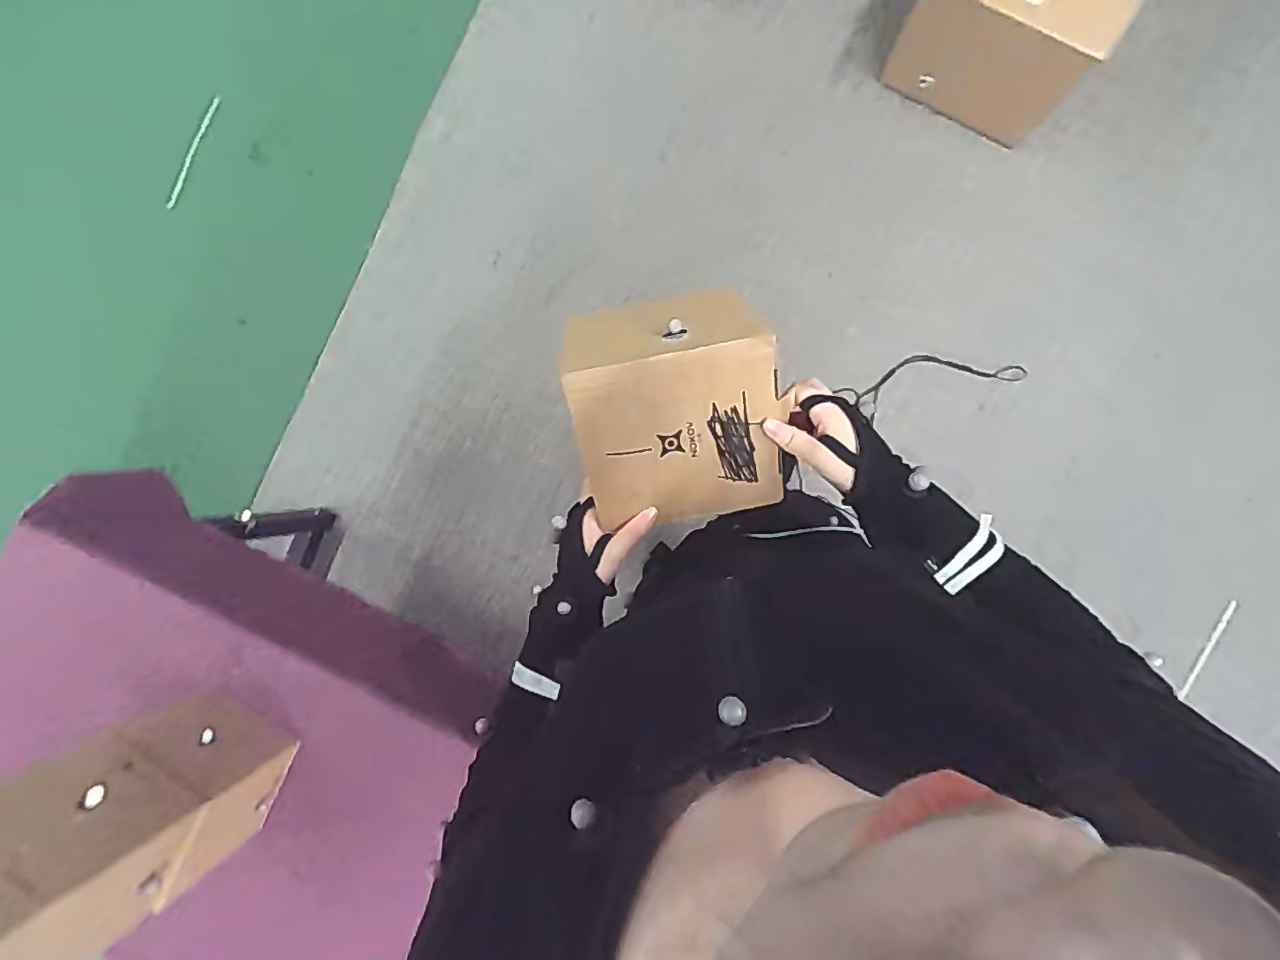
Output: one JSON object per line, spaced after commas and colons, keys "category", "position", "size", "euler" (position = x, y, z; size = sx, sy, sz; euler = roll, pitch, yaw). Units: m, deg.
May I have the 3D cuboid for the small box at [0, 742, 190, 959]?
{"category": "small box", "position": [-0.666, 0.437, 0.605], "size": [0.168, 0.176, 0.179], "euler": [30, 93, 5]}

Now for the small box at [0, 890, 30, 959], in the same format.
{"category": "small box", "position": [-0.679, 0.439, 0.440], "size": [0.168, 0.176, 0.179], "euler": [28, 94, 5]}
